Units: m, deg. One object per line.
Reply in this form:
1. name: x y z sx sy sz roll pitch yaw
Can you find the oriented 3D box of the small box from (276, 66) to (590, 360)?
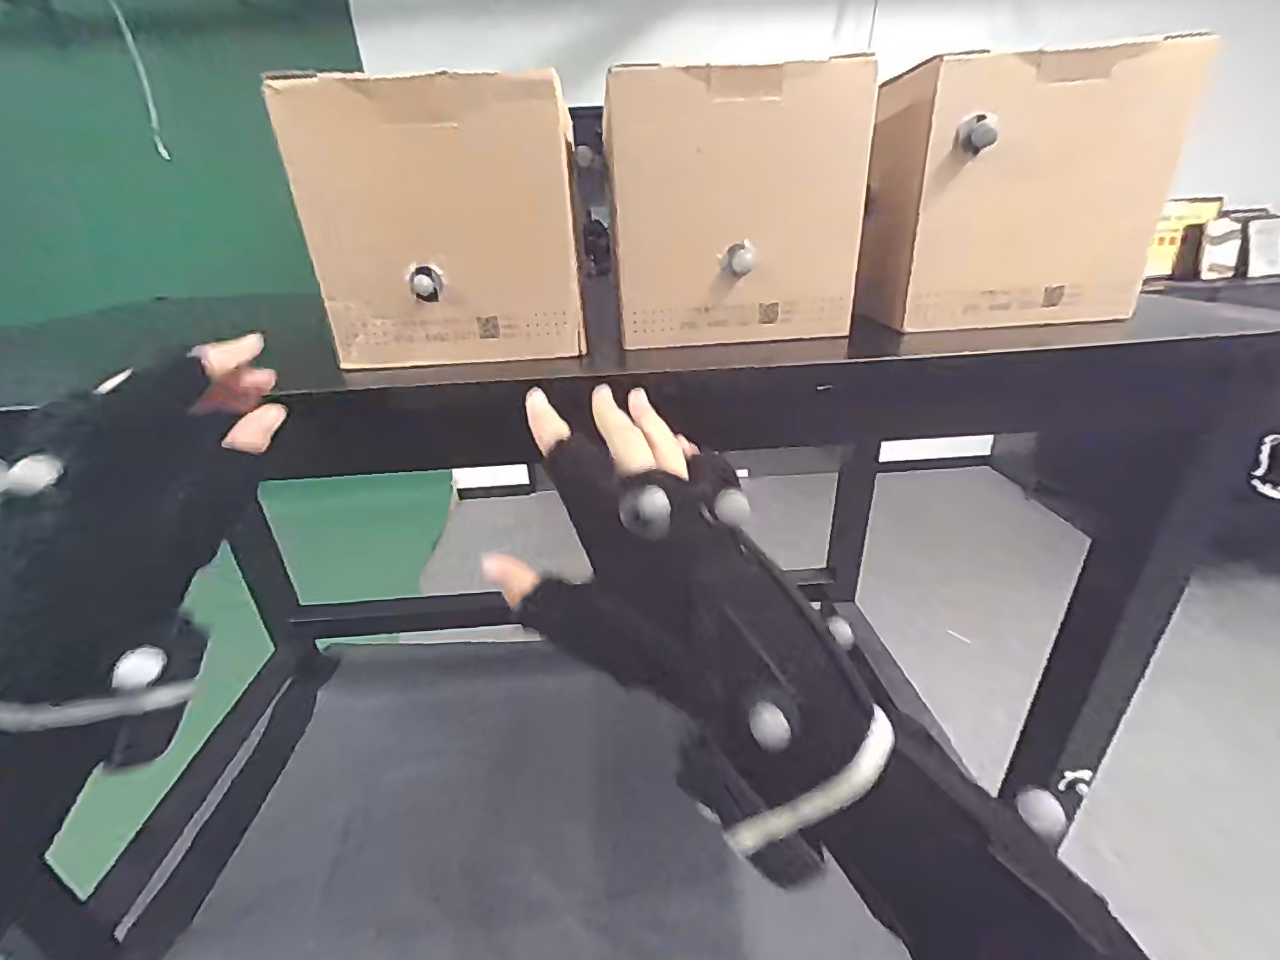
1. small box: -0.128 -0.192 0.414 0.168 0.176 0.179 -4 26 -3
